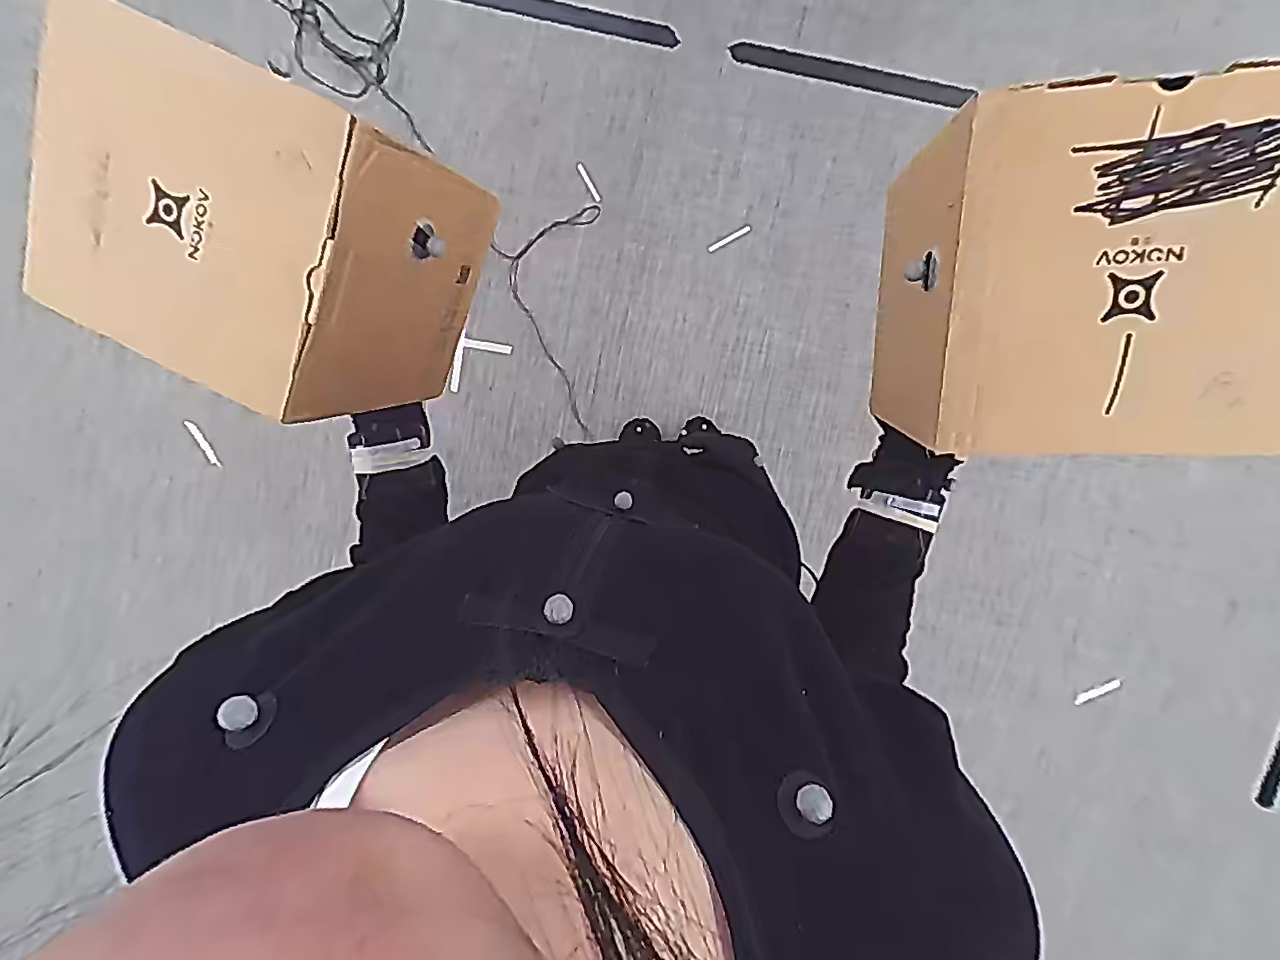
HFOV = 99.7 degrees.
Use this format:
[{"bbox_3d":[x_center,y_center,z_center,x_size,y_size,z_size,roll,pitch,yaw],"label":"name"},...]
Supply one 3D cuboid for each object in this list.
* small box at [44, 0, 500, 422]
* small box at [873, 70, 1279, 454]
[{"bbox_3d":[-0.221,-0.158,0.362,0.179,0.176,0.168,26,106,4],"label":"small box"},{"bbox_3d":[0.257,-0.119,0.344,0.168,0.176,0.179,1,105,11],"label":"small box"}]
